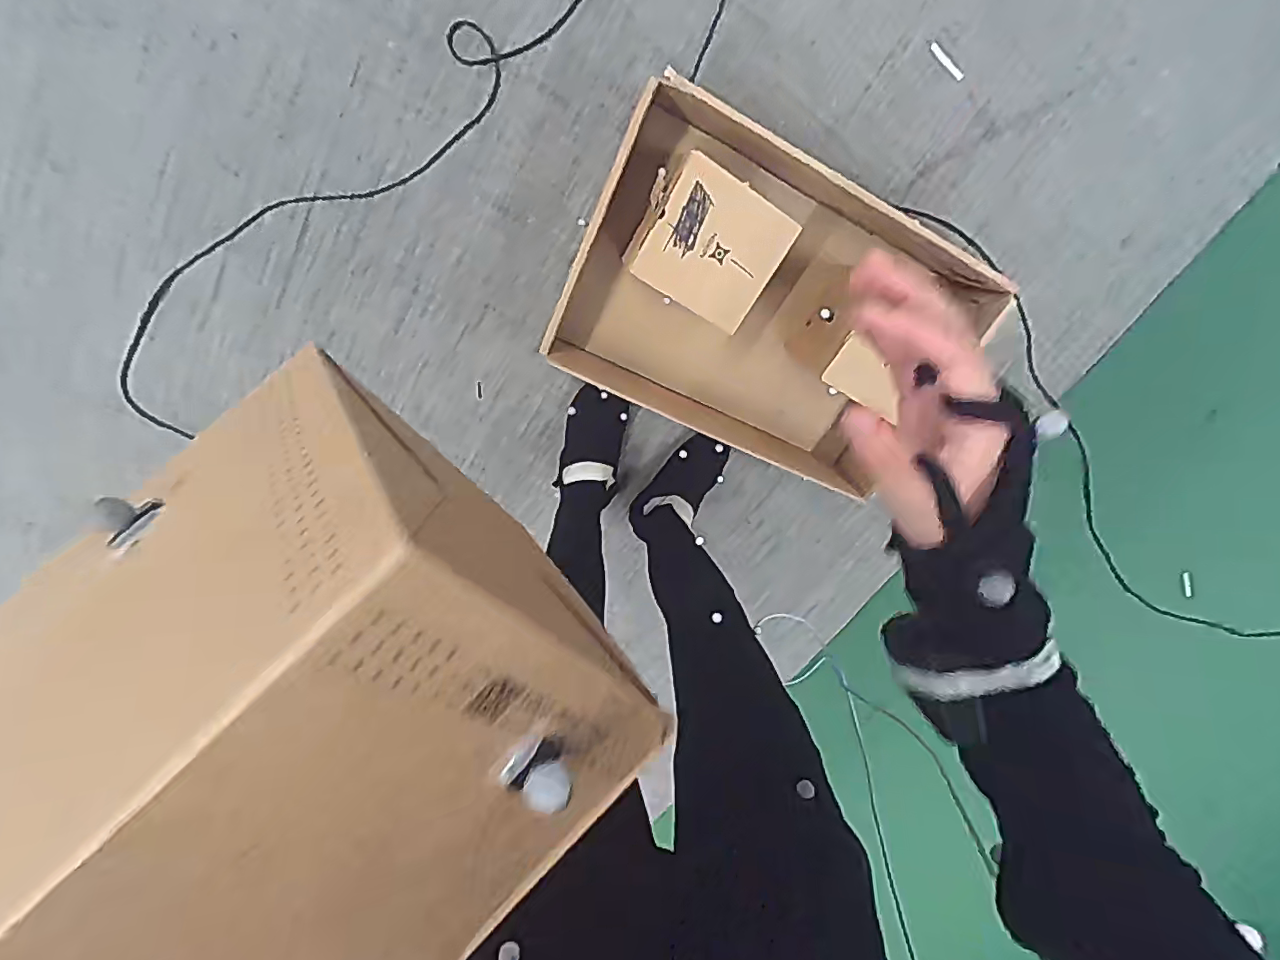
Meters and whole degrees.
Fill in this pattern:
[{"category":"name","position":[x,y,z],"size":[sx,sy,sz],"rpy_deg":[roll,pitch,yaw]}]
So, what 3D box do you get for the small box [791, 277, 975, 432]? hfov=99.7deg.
[{"category":"small box","position":[0.375,-0.209,0.870],"size":[0.179,0.176,0.168],"rpy_deg":[28,111,-16]}]
